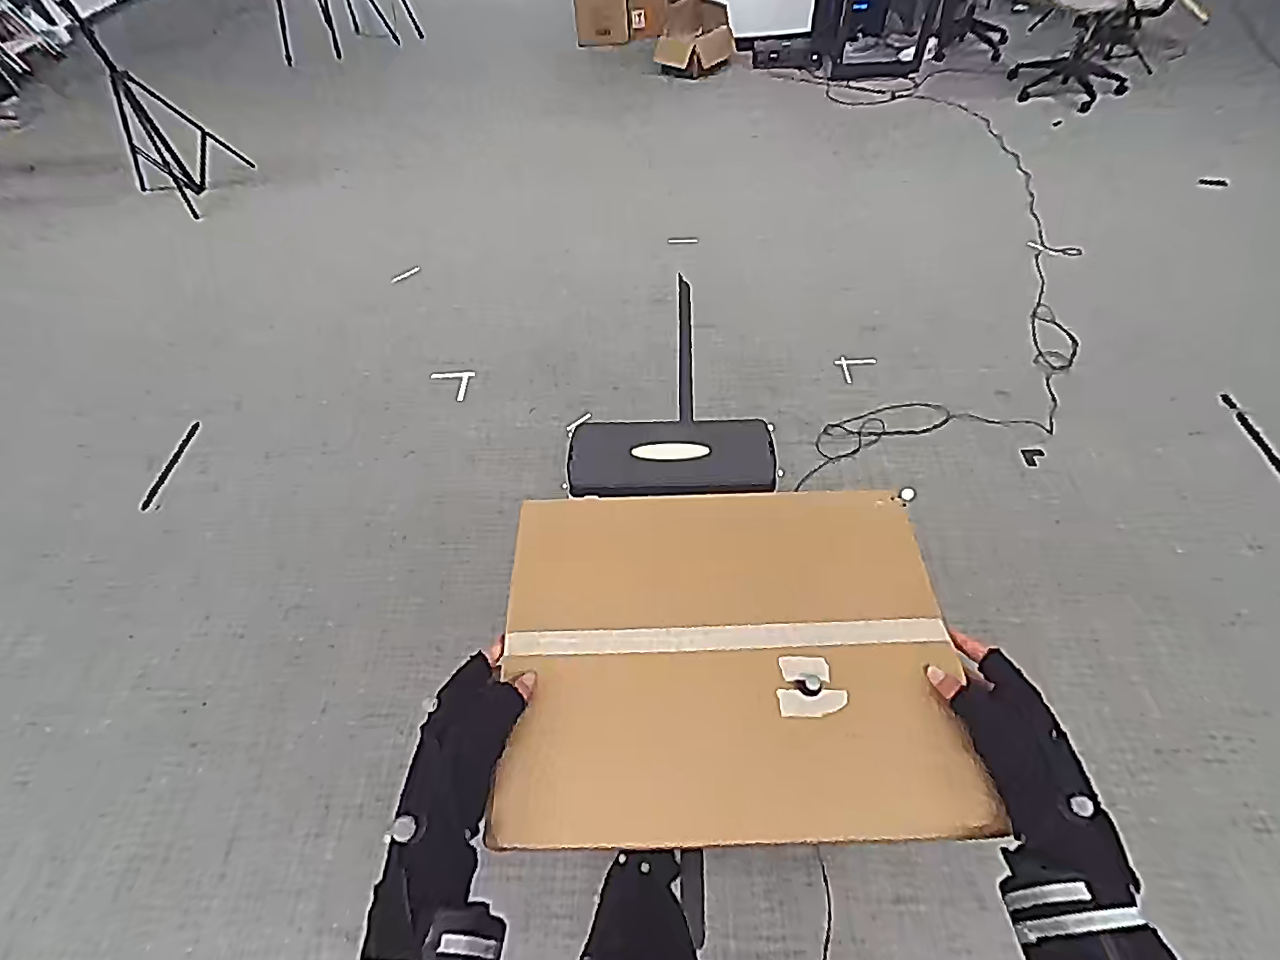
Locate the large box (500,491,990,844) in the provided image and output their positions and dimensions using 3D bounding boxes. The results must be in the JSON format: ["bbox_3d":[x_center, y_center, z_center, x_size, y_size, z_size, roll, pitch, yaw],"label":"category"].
[{"bbox_3d":[0.080,0.231,0.635,0.408,0.320,0.320,-2,57,0],"label":"large box"}]
